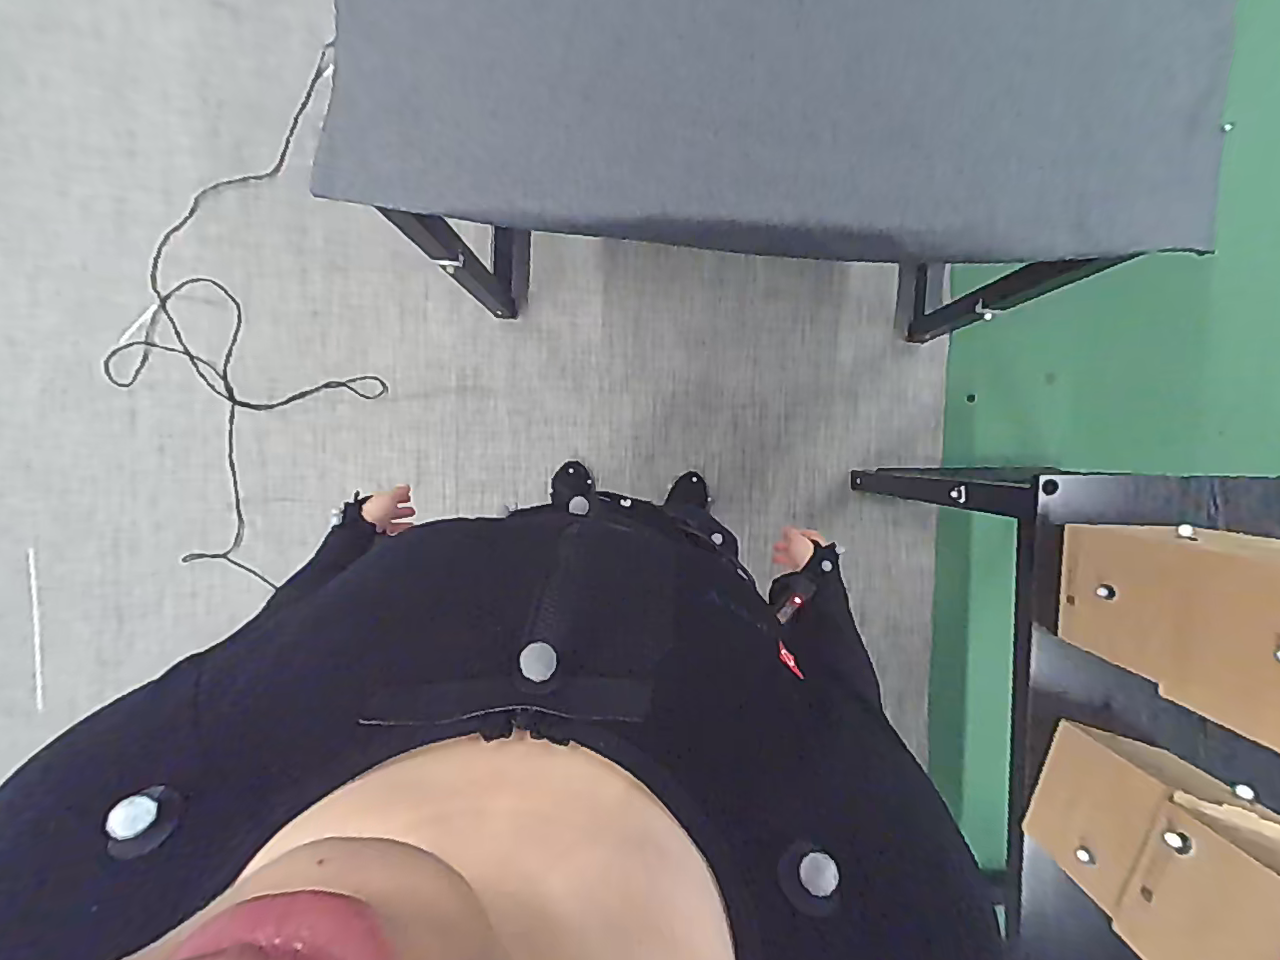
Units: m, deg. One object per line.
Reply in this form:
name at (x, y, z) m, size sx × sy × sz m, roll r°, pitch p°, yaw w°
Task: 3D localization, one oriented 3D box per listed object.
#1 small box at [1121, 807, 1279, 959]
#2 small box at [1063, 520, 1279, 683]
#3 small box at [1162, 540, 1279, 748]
small box at (0.644, 0.464, 0.532) m, size 0.179 × 0.176 × 0.168 m, roll 19°, pitch 94°, yaw -1°
small box at (0.677, 0.145, 0.677) m, size 0.179 × 0.176 × 0.168 m, roll 1°, pitch 94°, yaw 0°
small box at (0.659, 0.160, 0.516) m, size 0.168 × 0.176 × 0.179 m, roll 1°, pitch 93°, yaw 1°
